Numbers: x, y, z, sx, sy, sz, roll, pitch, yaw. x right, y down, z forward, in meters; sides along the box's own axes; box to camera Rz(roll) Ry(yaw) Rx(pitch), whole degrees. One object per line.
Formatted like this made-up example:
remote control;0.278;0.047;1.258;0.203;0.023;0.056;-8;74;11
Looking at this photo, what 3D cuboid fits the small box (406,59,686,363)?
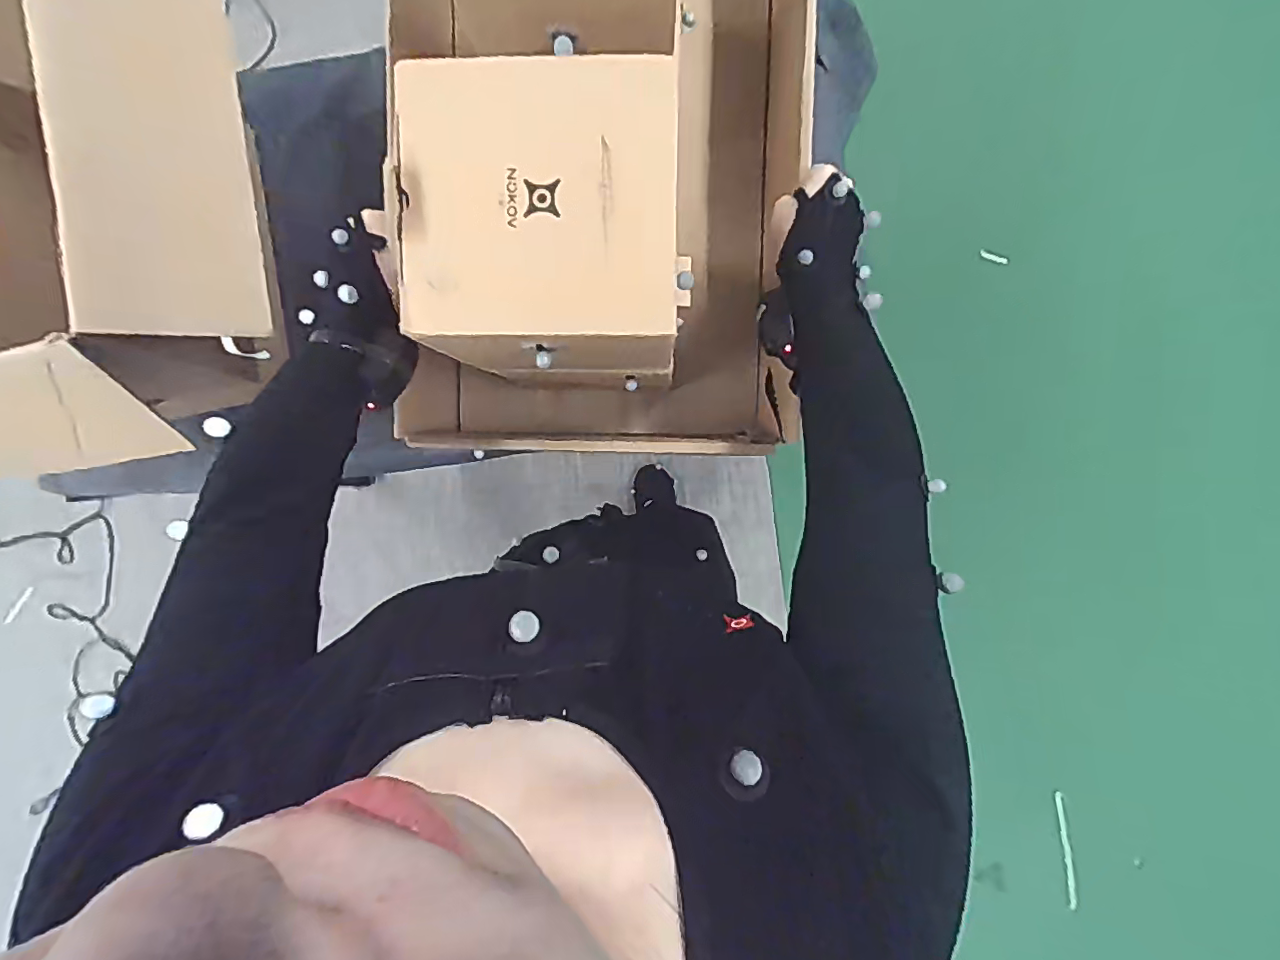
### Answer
small box;-0.057;-0.183;0.418;0.179;0.176;0.168;1;96;1
